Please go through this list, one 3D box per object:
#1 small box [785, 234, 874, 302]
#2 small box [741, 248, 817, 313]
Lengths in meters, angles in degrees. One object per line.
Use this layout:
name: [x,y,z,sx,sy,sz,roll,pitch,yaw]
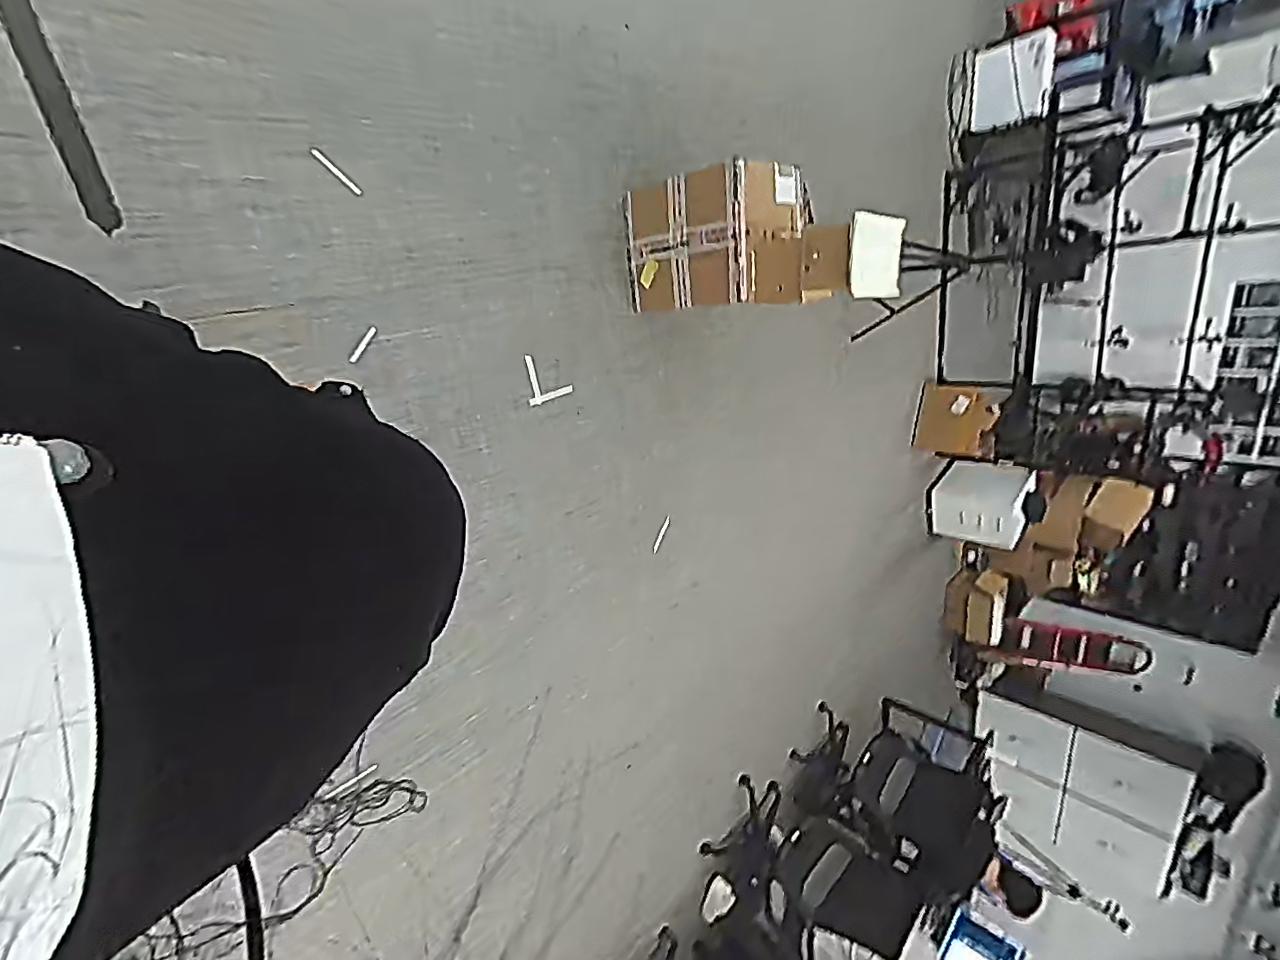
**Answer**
small box: [0.532,-0.593,1.525,0.179,0.176,0.168,-17,113,-39]
small box: [0.423,-0.608,1.649,0.168,0.176,0.179,-22,115,-38]
